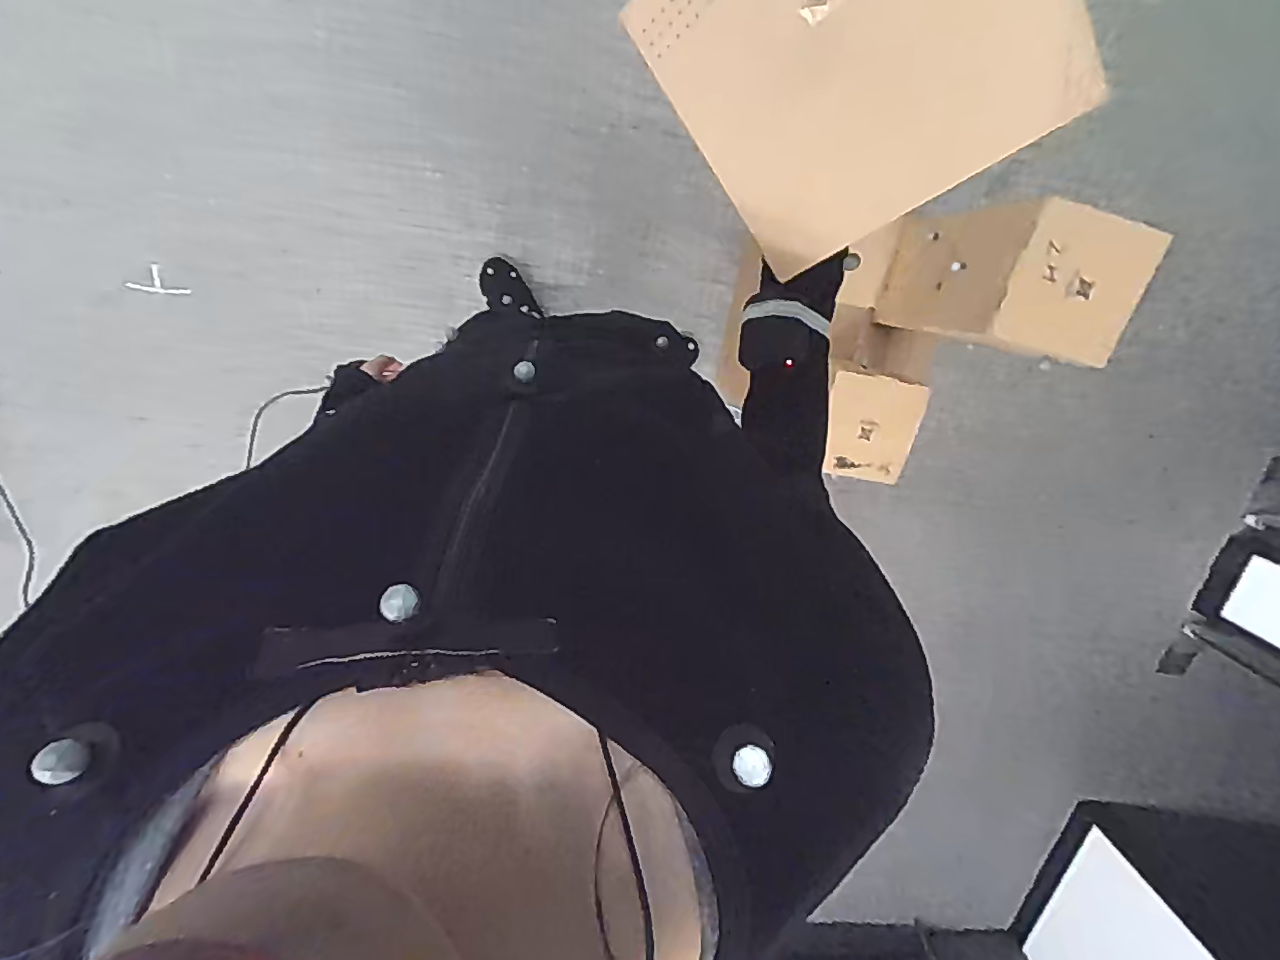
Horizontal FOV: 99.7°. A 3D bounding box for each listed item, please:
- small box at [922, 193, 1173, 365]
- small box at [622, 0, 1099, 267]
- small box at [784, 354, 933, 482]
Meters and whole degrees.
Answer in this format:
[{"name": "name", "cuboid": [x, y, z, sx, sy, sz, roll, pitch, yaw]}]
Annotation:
[{"name": "small box", "cuboid": [0.534, -0.269, 0.738, 0.179, 0.176, 0.168, 13, 109, -8]}, {"name": "small box", "cuboid": [0.122, -0.266, 0.307, 0.168, 0.179, 0.176, -20, 121, 42]}, {"name": "small box", "cuboid": [0.373, -0.117, 0.961, 0.168, 0.176, 0.179, 11, 110, -5]}]
